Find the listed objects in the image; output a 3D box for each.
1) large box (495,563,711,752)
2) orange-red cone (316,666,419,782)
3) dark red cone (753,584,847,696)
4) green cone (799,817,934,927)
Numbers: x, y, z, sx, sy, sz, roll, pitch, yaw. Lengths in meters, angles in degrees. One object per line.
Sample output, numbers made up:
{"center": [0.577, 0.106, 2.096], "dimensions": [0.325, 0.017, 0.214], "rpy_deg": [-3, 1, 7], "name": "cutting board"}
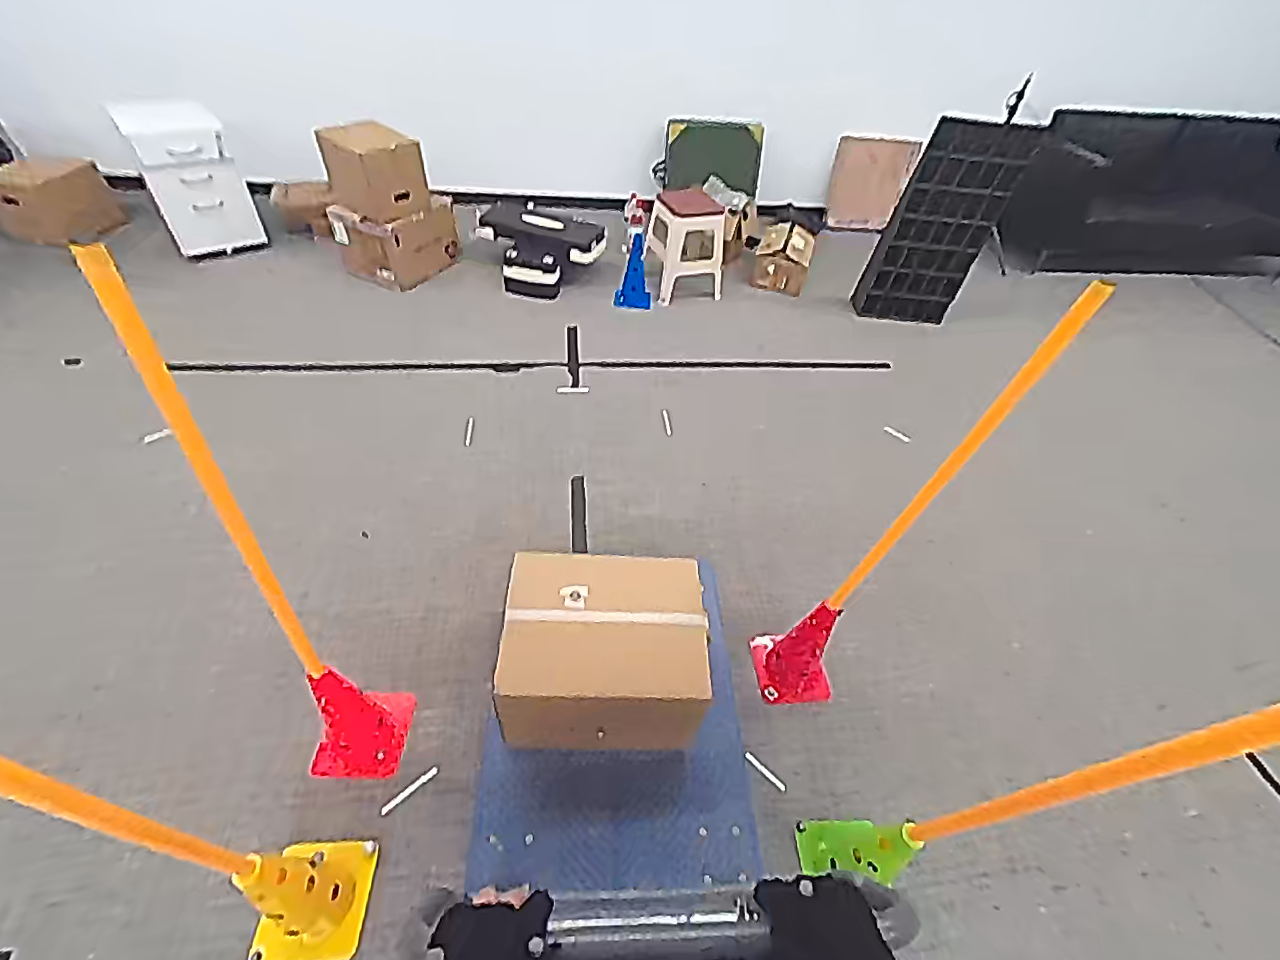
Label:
{"center": [-0.078, 0.397, 1.201], "dimensions": [0.408, 0.320, 0.320], "rpy_deg": [2, 47, -4], "name": "large box"}
{"center": [-0.656, 0.517, 1.224], "dimensions": [0.198, 0.360, 0.199], "rpy_deg": [4, 44, -3], "name": "orange-red cone"}
{"center": [0.454, 0.403, 1.427], "dimensions": [0.201, 0.394, 0.202], "rpy_deg": [-1, 46, -9], "name": "dark red cone"}
{"center": [0.491, 0.763, 1.104], "dimensions": [0.202, 0.368, 0.200], "rpy_deg": [2, 46, -6], "name": "green cone"}
